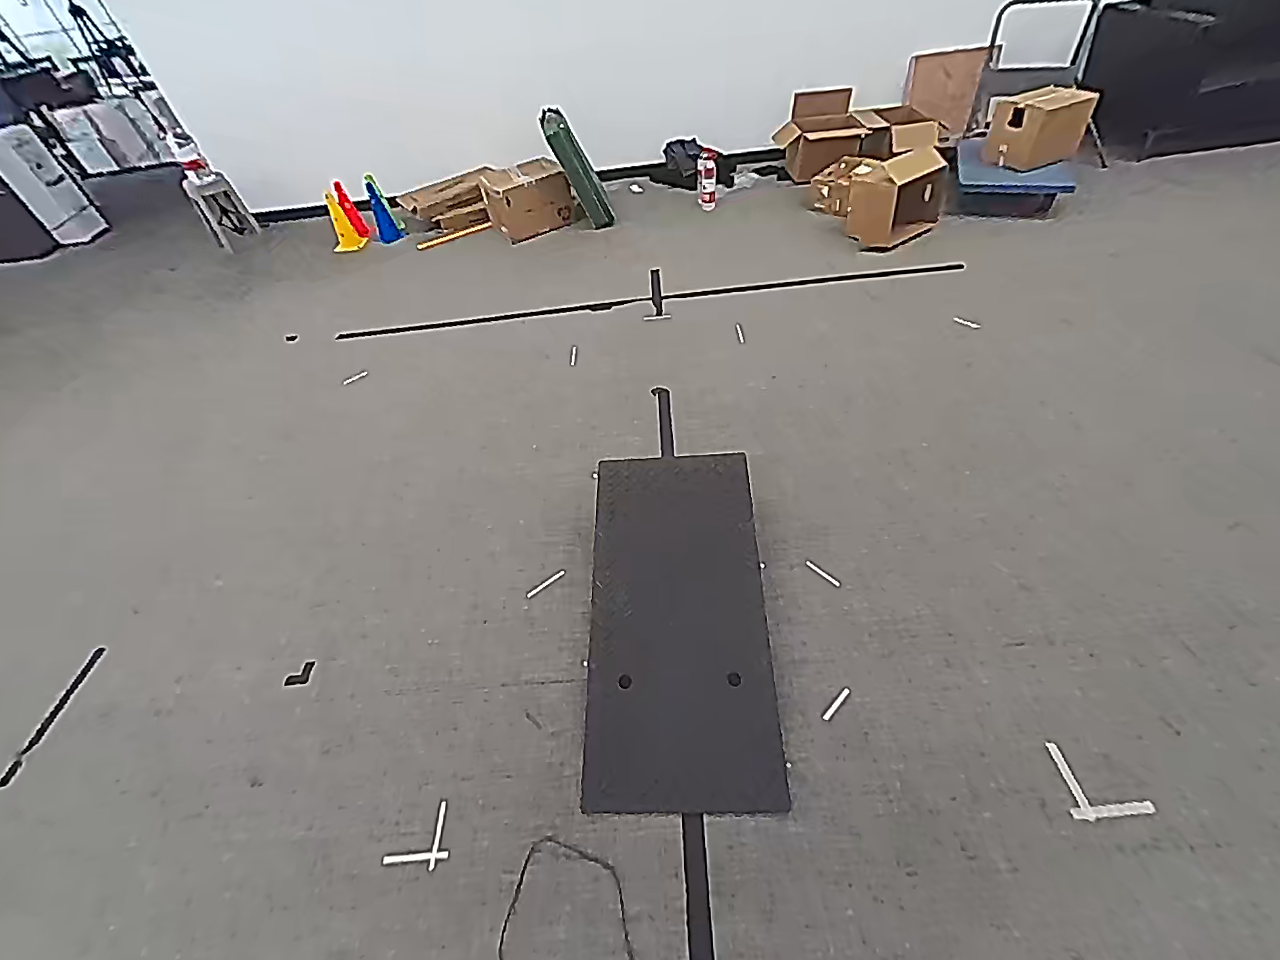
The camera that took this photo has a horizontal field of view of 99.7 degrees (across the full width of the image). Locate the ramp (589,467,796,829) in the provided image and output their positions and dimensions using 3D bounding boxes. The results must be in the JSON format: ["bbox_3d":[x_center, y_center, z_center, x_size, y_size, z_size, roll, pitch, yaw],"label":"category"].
[{"bbox_3d":[0.111,0.391,1.533,0.509,0.206,0.991,-5,46,3],"label":"ramp"}]
